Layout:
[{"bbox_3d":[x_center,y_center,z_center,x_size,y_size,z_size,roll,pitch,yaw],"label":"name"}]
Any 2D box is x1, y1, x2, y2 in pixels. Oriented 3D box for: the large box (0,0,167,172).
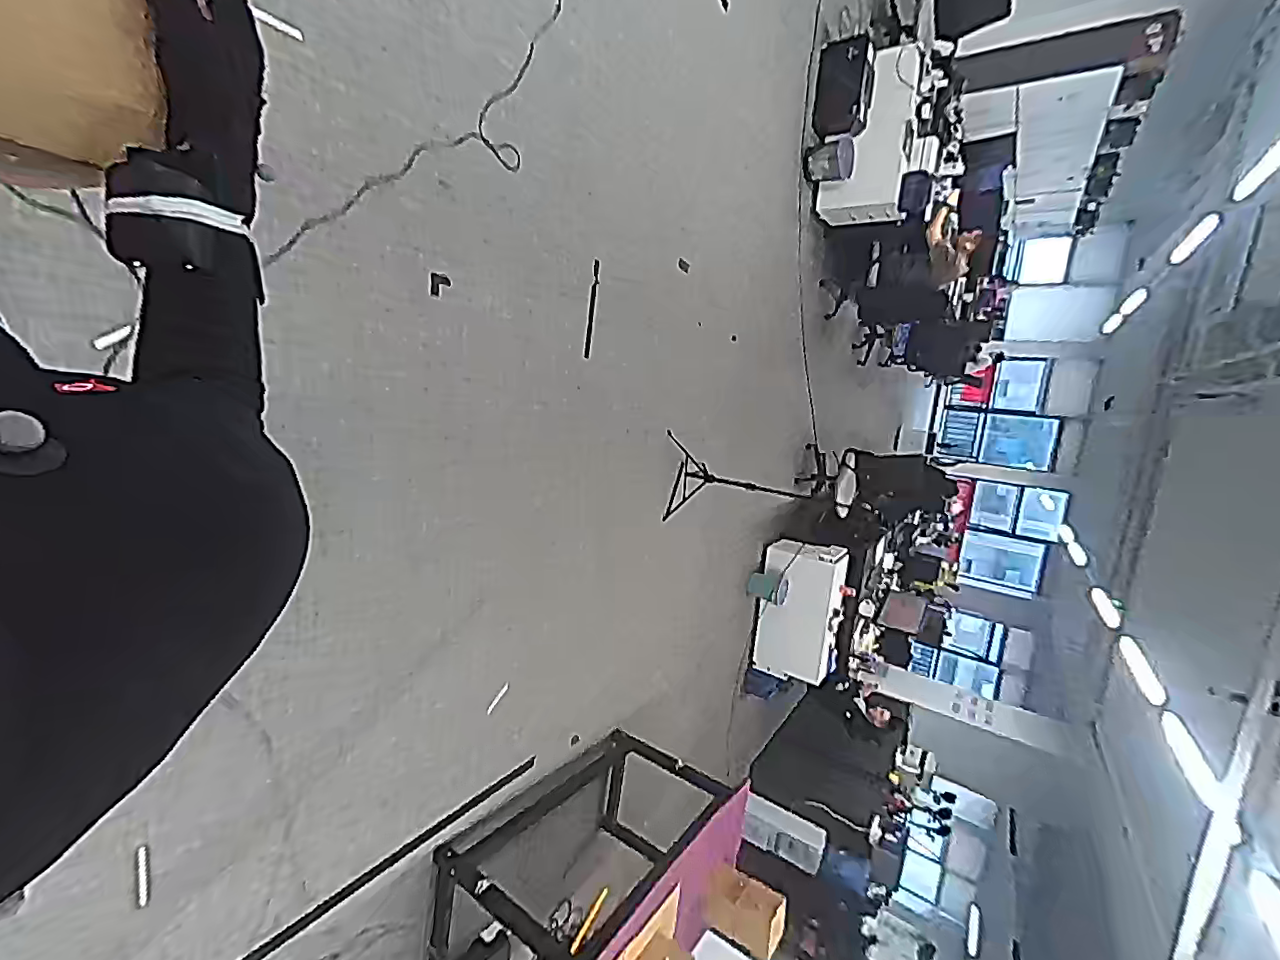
[{"bbox_3d":[-0.559,-0.396,0.275,0.408,0.320,0.320,-10,115,-59],"label":"large box"}]
